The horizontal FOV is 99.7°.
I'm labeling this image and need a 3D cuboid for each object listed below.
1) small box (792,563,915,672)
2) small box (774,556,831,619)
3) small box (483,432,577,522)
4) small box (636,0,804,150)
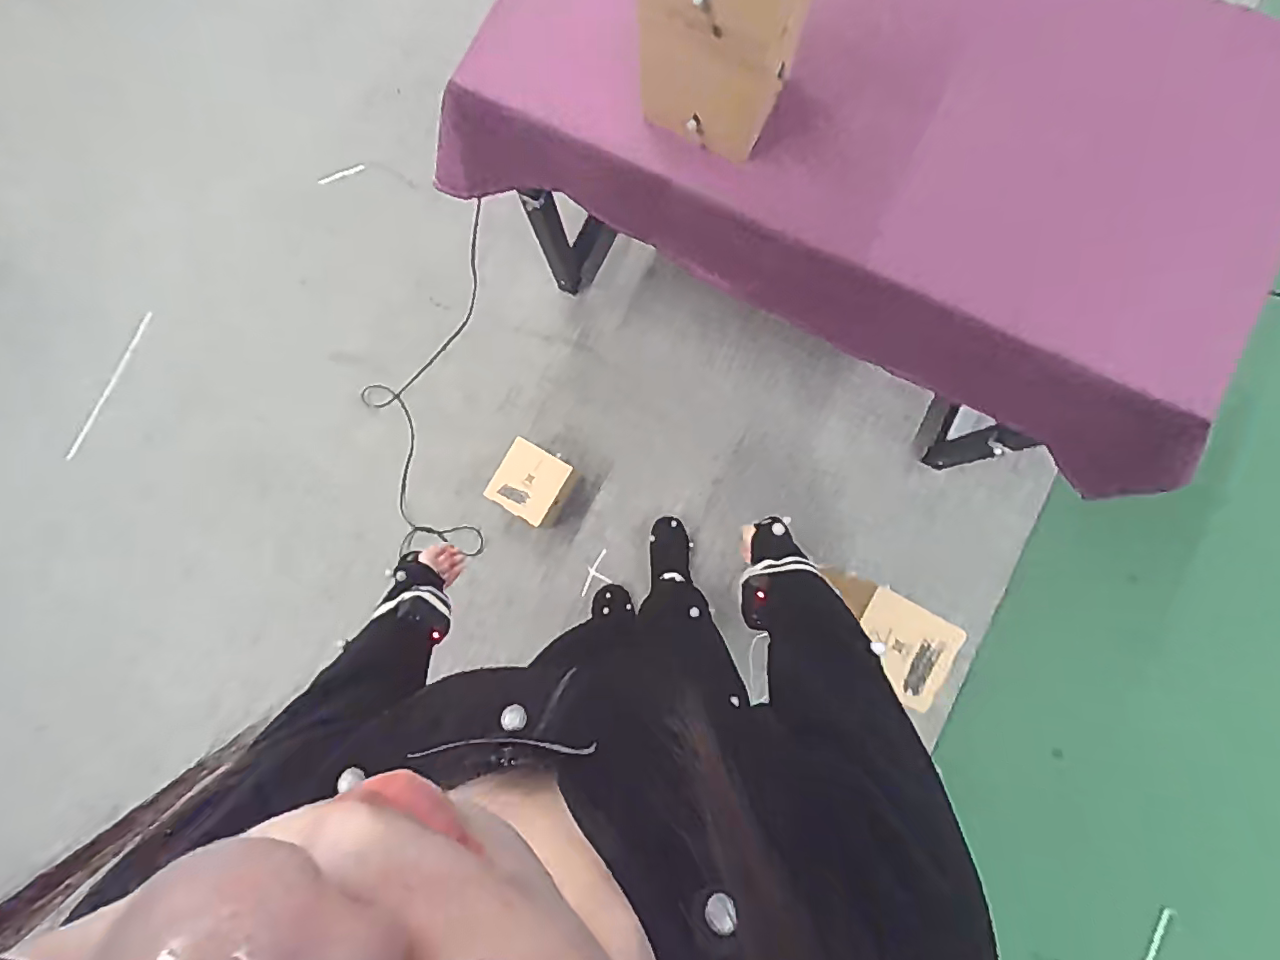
[{"bbox_3d":[0.466,0.297,1.213,0.179,0.176,0.168,28,87,3],"label":"small box"},{"bbox_3d":[0.464,0.306,1.376,0.179,0.176,0.168,31,87,4],"label":"small box"},{"bbox_3d":[-0.280,0.000,1.429,0.168,0.176,0.179,30,86,4],"label":"small box"},{"bbox_3d":[0.108,-0.595,0.737,0.179,0.176,0.168,25,85,3],"label":"small box"}]
